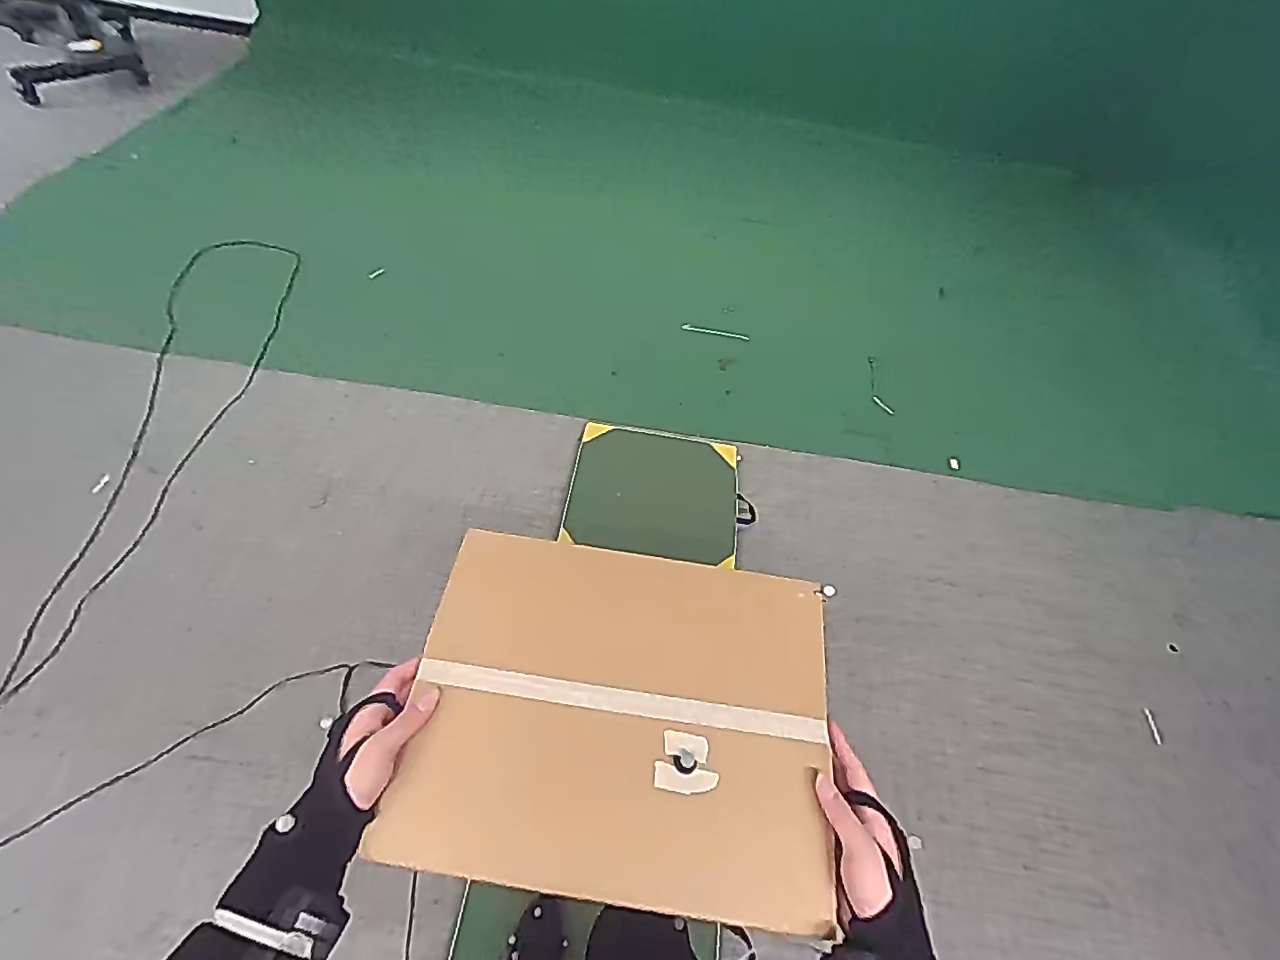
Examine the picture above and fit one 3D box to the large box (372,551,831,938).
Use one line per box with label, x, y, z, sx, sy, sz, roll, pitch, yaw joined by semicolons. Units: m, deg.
large box;-0.027;0.313;0.662;0.408;0.320;0.320;9;58;1
